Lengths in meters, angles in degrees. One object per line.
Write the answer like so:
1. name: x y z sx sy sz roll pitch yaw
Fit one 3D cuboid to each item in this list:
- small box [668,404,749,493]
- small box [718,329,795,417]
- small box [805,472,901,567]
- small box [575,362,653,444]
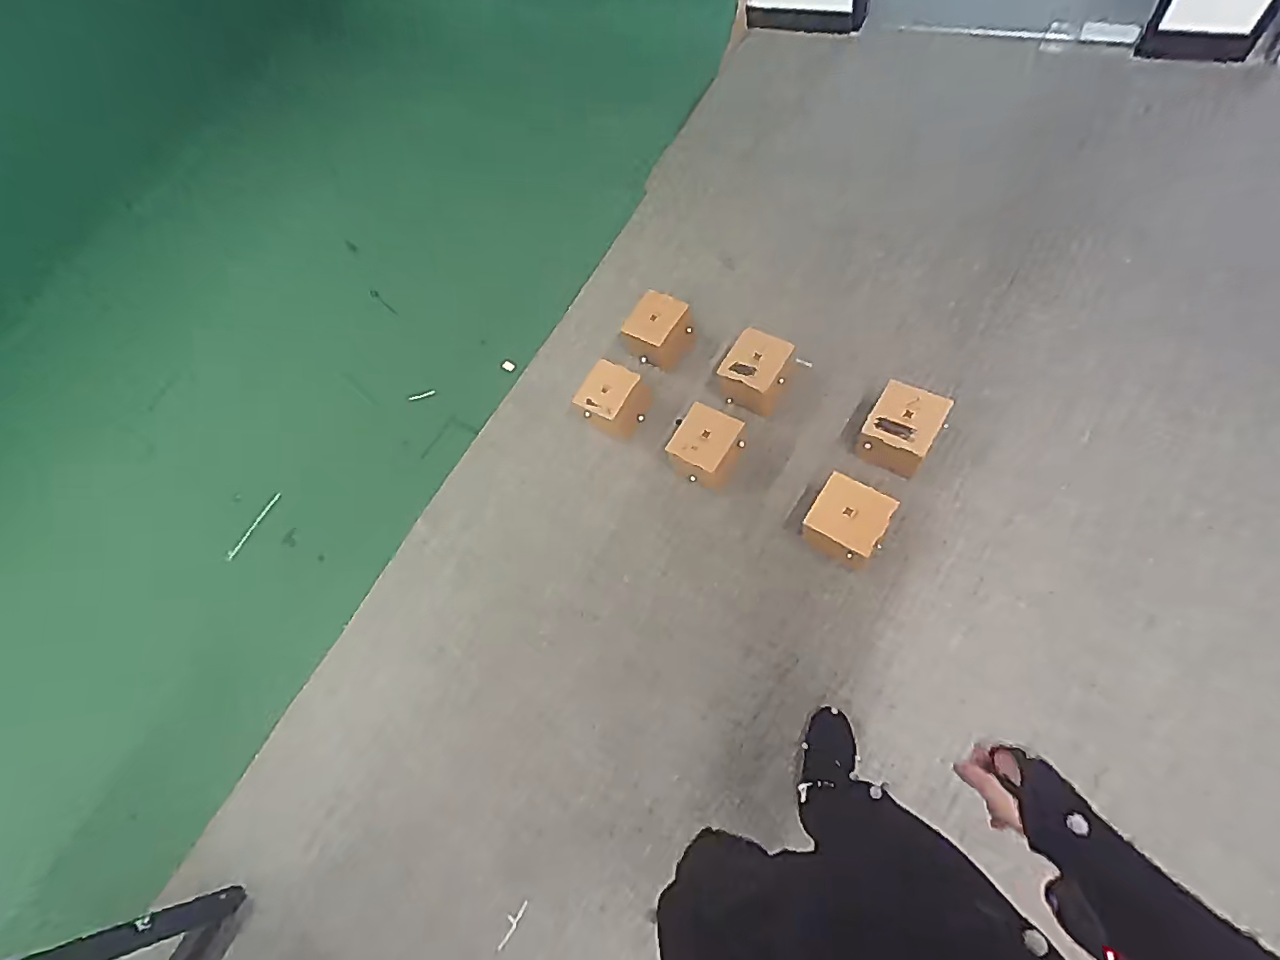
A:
1. small box: 0.209 -0.090 1.599 0.168 0.176 0.179 29 80 25
2. small box: 0.360 -0.319 1.639 0.168 0.176 0.179 30 80 25
3. small box: 0.549 0.110 1.413 0.179 0.176 0.168 30 81 25
4. small box: -0.074 -0.246 1.751 0.168 0.176 0.179 28 79 26
